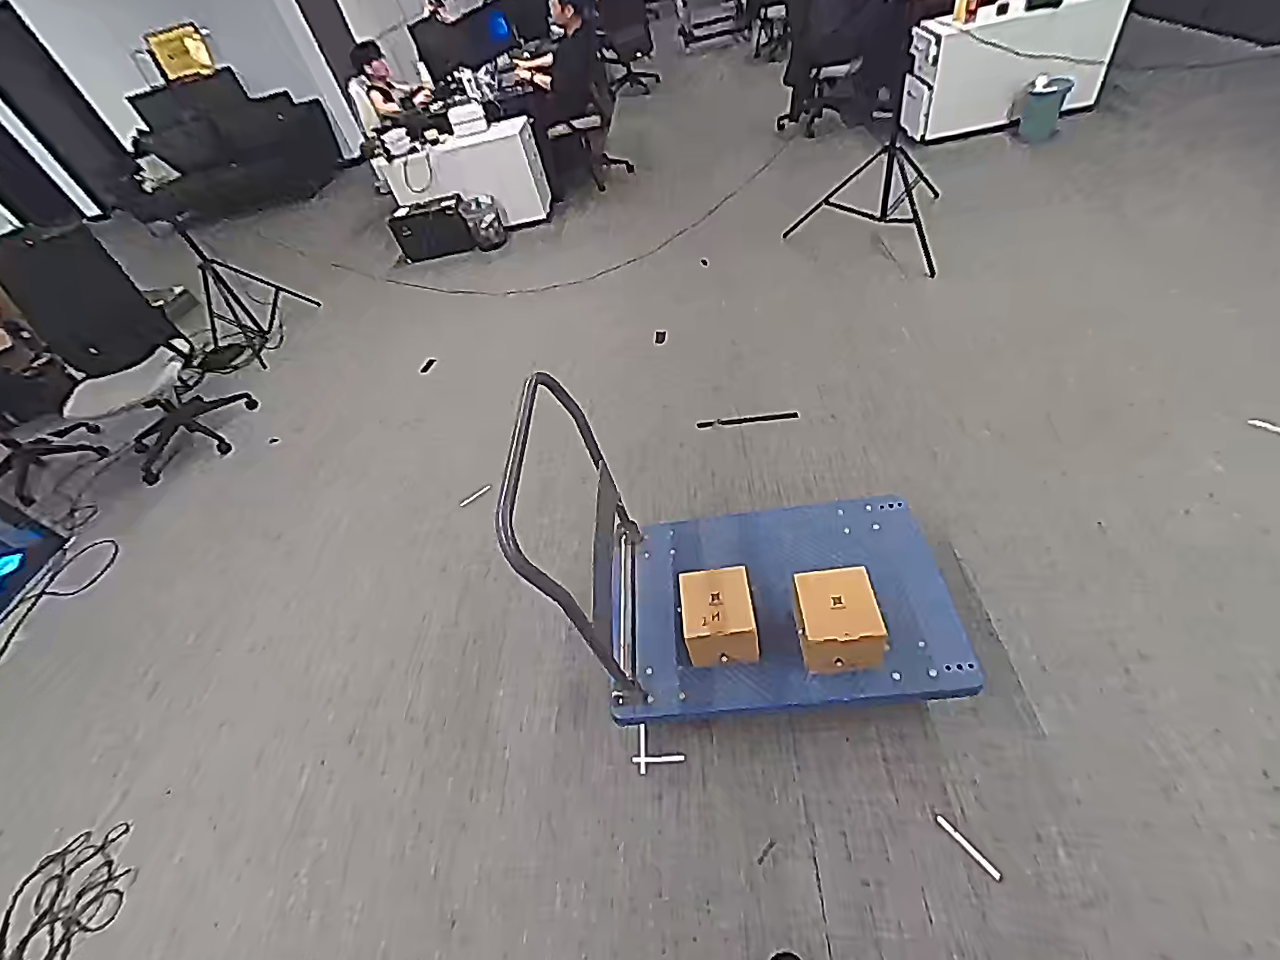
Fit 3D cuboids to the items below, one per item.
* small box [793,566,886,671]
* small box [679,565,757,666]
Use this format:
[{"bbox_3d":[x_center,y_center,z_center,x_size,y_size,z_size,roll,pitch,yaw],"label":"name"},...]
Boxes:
[{"bbox_3d":[0.459,0.328,1.273,0.168,0.176,0.179,-9,47,8],"label":"small box"},{"bbox_3d":[0.193,0.336,1.336,0.168,0.176,0.179,-9,47,8],"label":"small box"}]
